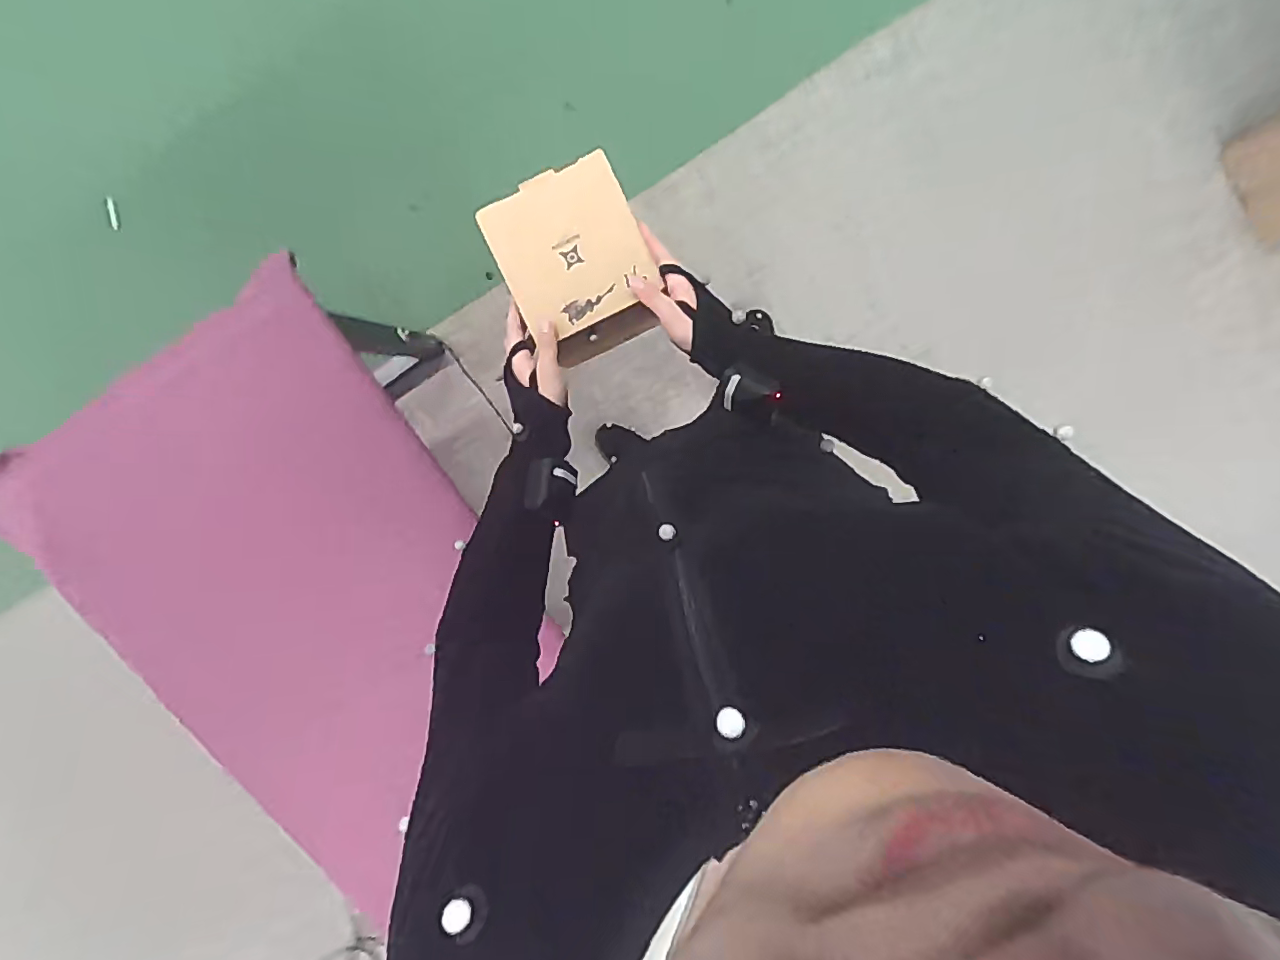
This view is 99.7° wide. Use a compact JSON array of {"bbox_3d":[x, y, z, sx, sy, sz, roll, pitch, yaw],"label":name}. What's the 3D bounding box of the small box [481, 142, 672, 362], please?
[{"bbox_3d":[-0.070,-0.269,0.682,0.168,0.176,0.179,-24,94,3],"label":"small box"}]
